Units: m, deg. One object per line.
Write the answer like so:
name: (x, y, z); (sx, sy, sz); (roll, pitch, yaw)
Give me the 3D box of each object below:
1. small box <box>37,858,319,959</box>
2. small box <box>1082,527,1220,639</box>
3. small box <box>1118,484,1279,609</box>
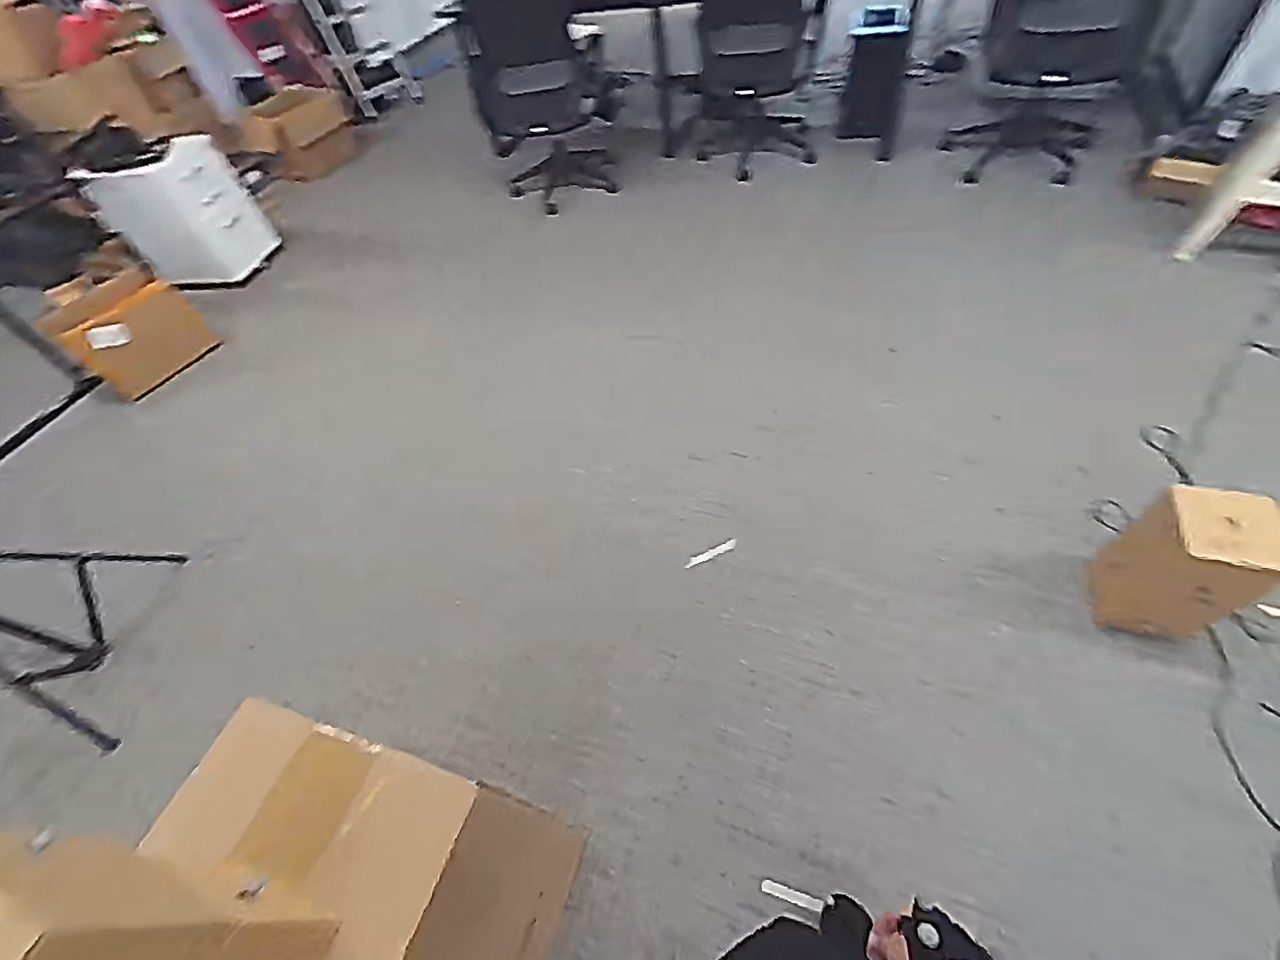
small box: (-0.454, 0.499, 0.522); (0.168, 0.176, 0.179); (10, 56, 17)
small box: (1.150, 0.237, 1.237); (0.168, 0.176, 0.179); (11, 56, 18)
small box: (1.128, 0.137, 1.107); (0.168, 0.176, 0.179); (10, 55, 18)
